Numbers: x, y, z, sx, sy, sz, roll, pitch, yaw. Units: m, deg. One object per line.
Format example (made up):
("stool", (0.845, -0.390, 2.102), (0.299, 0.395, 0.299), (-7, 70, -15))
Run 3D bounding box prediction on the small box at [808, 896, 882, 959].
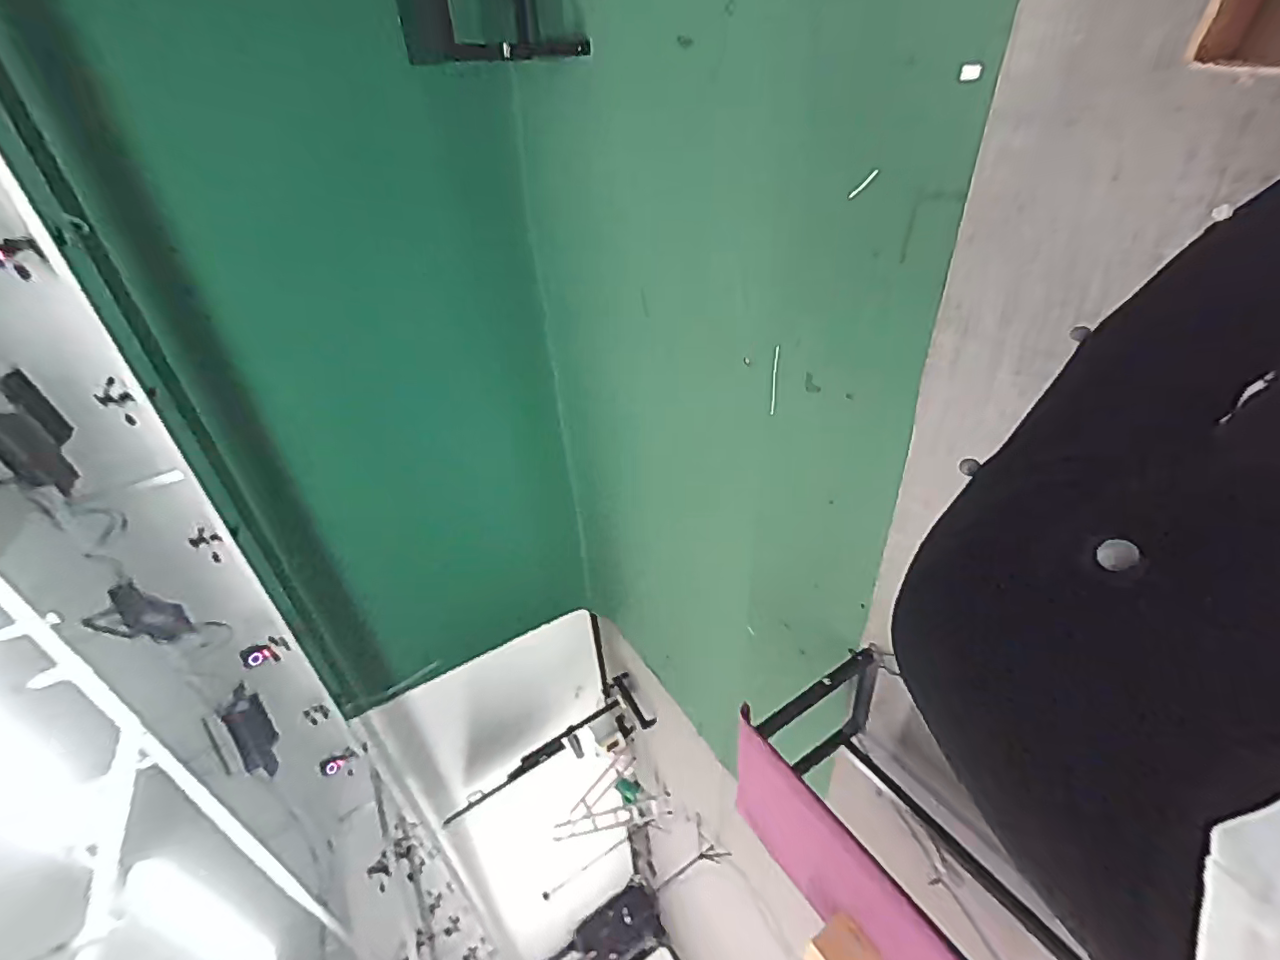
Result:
("small box", (0.721, 1.623, 1.900), (0.168, 0.176, 0.179), (39, 143, 43))
